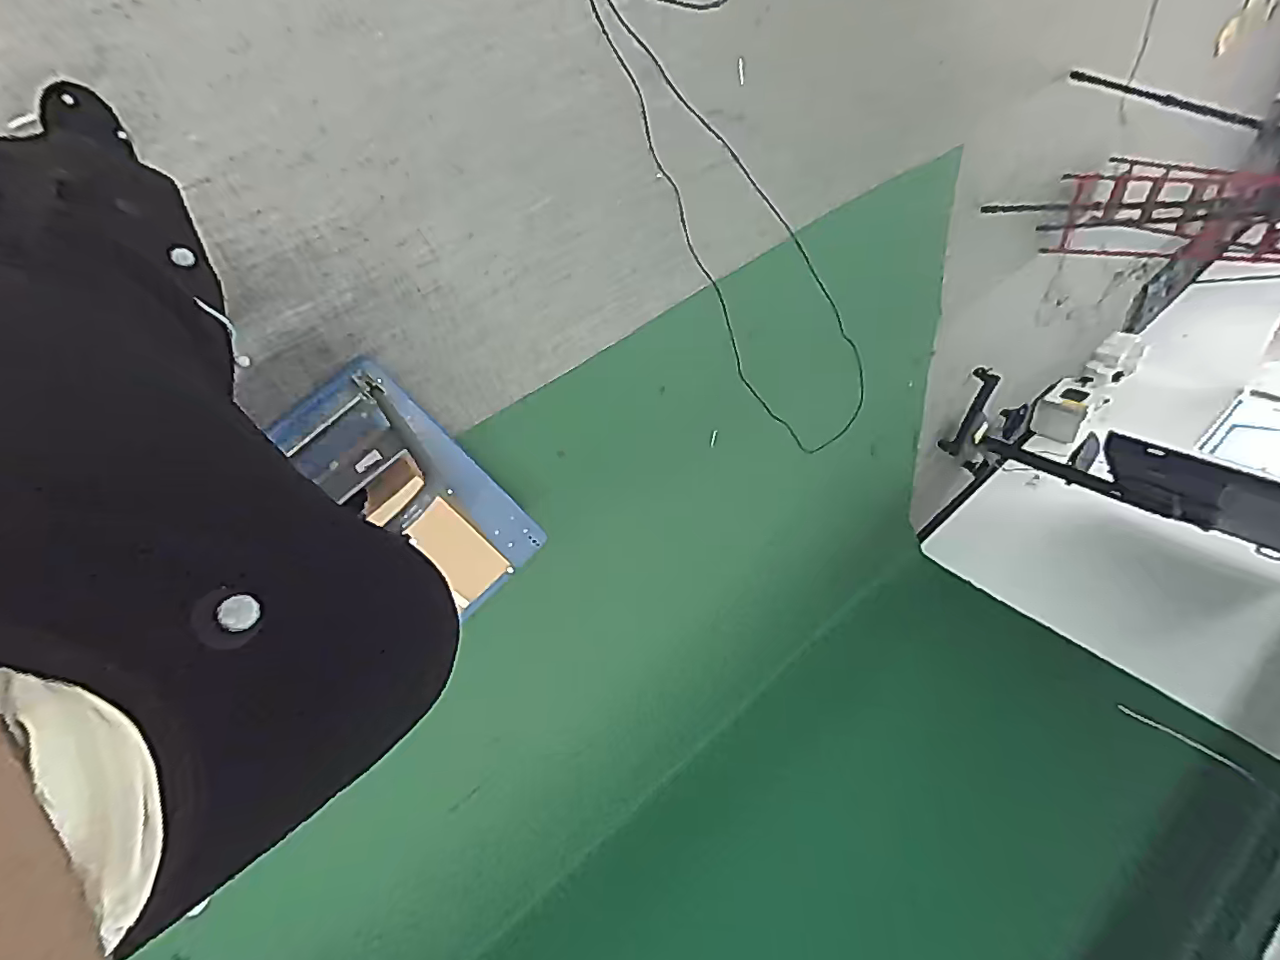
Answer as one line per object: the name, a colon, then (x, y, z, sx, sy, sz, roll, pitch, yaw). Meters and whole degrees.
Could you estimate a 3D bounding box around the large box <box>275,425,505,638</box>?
large box: (-0.639, 0.133, 1.406, 0.320, 0.320, 0.408, -42, 137, -12)
